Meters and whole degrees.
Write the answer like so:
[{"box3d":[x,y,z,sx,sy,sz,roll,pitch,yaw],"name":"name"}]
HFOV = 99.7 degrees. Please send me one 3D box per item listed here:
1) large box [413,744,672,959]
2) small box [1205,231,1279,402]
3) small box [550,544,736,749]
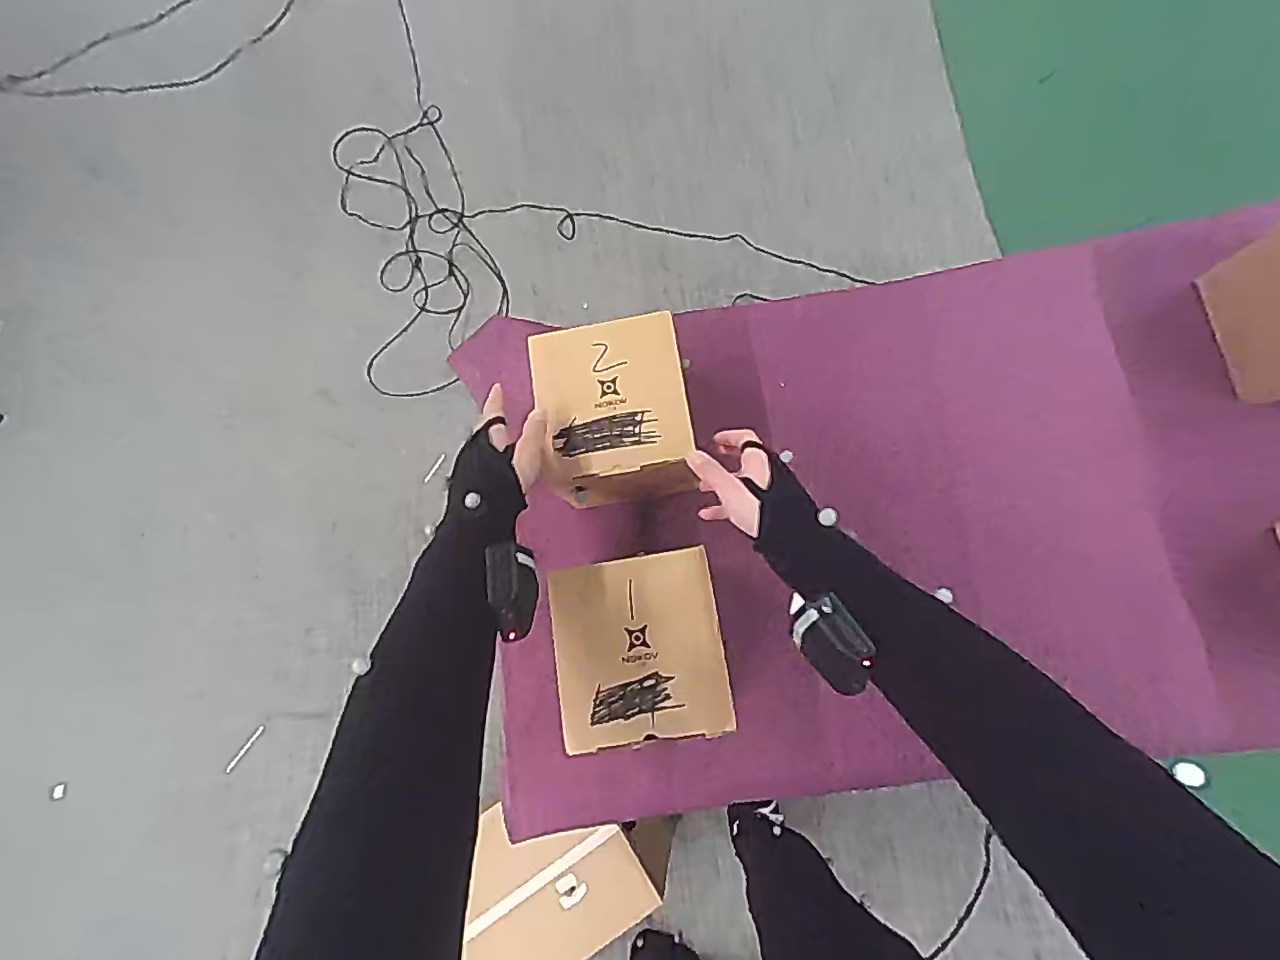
[{"box3d":[-0.183,0.793,1.164,0.408,0.320,0.320,-35,75,-3],"name":"large box"},{"box3d":[0.794,-0.204,0.593,0.168,0.176,0.179,-7,77,8],"name":"small box"},{"box3d":[0.009,0.178,0.602,0.168,0.176,0.179,-10,74,4],"name":"small box"}]
